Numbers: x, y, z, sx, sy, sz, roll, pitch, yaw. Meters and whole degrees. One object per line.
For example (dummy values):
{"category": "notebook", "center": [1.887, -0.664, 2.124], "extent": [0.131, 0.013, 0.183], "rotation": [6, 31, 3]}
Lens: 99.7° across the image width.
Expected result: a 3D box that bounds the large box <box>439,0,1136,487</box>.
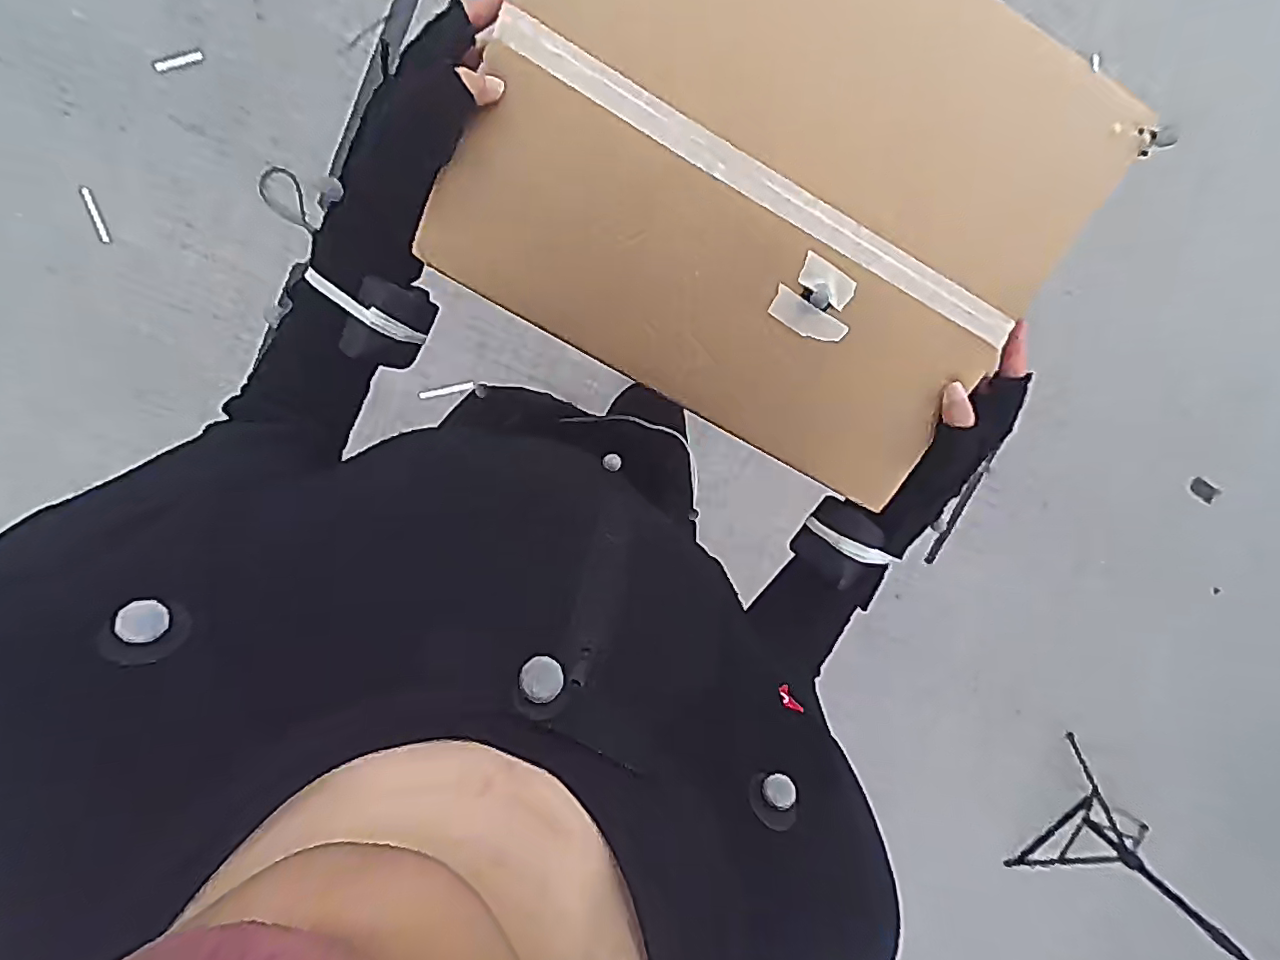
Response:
{"category": "large box", "center": [0.095, -0.253, 0.523], "extent": [0.408, 0.320, 0.320], "rotation": [28, 107, -8]}
